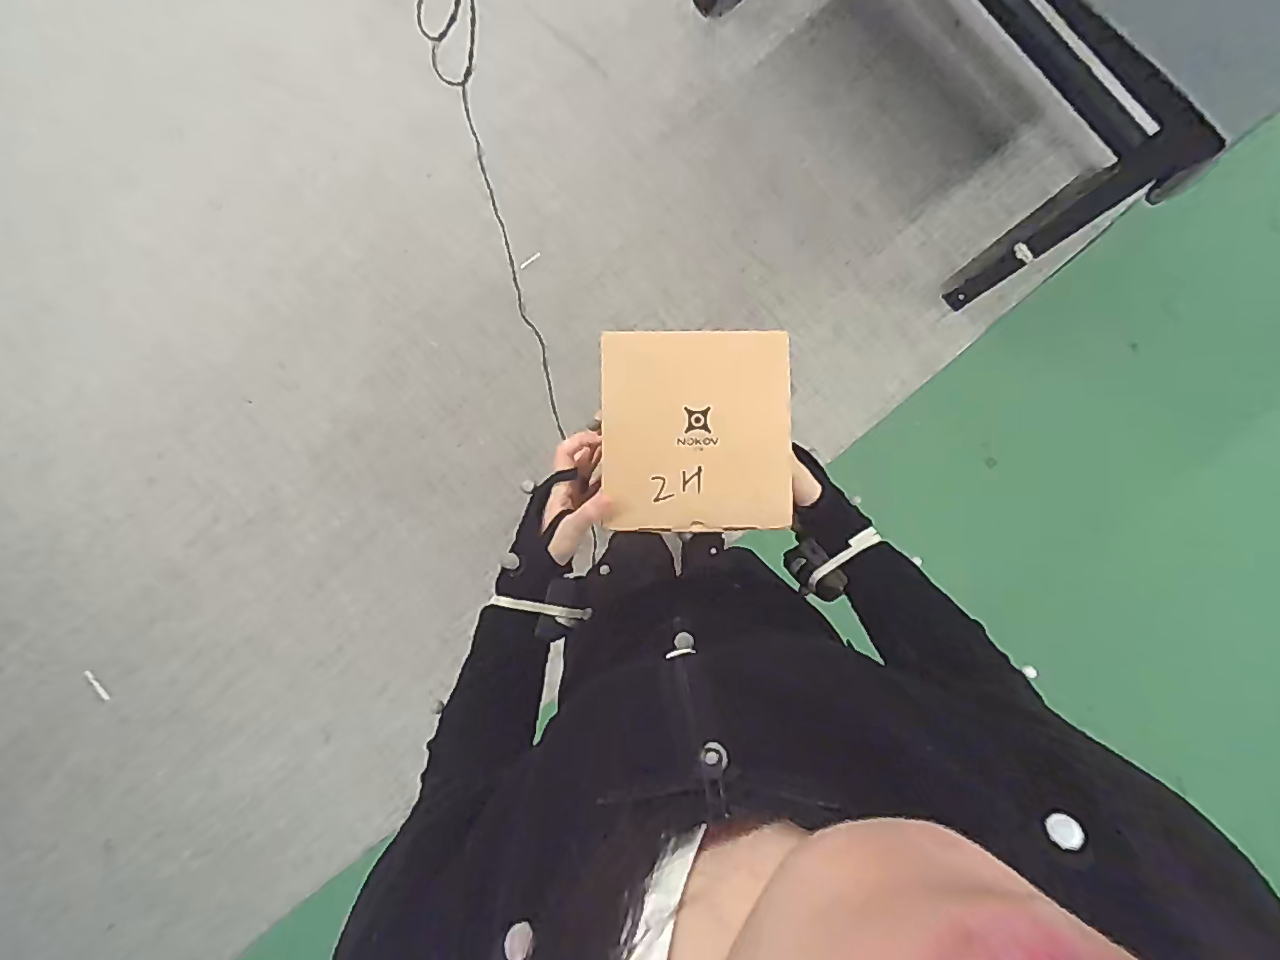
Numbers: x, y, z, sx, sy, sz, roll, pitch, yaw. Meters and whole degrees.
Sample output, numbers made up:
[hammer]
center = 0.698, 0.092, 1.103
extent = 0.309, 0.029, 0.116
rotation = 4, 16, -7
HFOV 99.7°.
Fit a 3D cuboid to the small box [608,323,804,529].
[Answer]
[small box]
center = 0.052, -0.041, 0.534
extent = 0.168, 0.176, 0.179
rotation = -1, 86, -1
